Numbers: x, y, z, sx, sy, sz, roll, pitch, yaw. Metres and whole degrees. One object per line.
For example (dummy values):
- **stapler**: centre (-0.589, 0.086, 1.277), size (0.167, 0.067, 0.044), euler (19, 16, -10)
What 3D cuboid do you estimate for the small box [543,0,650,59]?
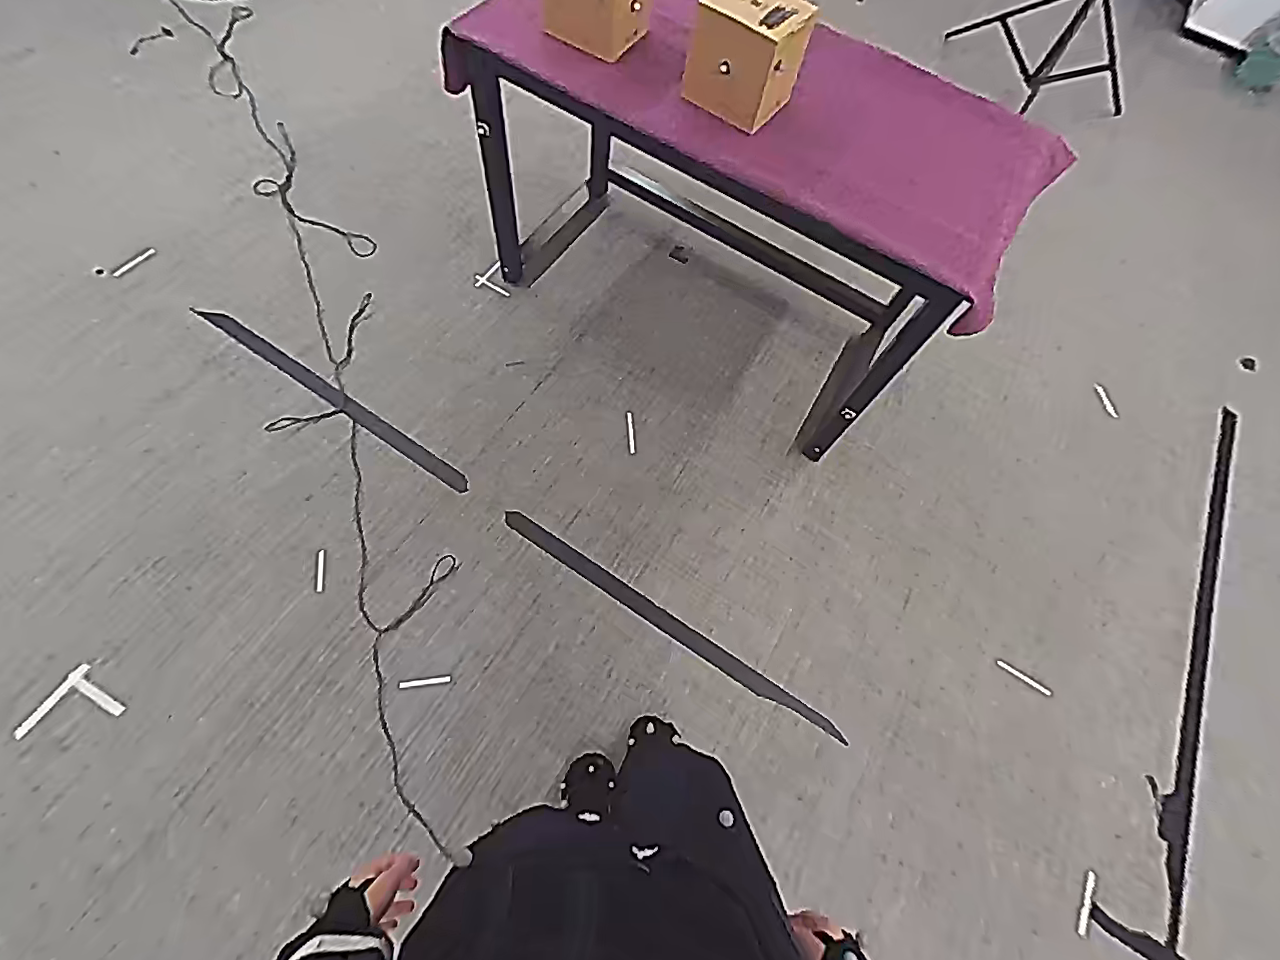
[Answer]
- **small box**: centre (-0.085, -1.010, 1.108), size (0.179, 0.176, 0.168), euler (29, 65, 6)
